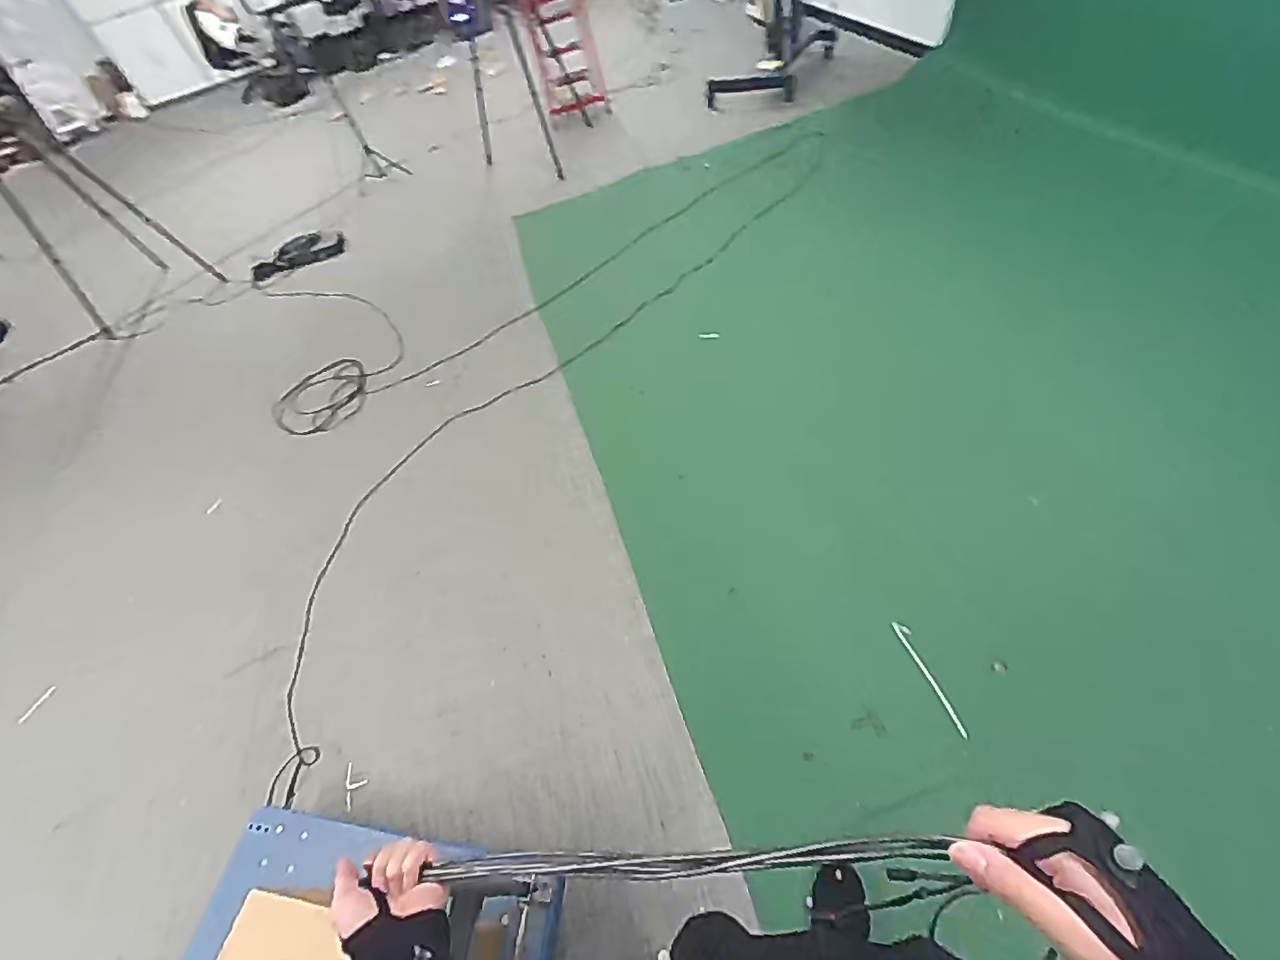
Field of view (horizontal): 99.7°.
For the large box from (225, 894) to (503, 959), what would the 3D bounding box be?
[{"bbox_3d":[-0.530,0.997,1.004,0.408,0.320,0.320,0,53,16],"label":"large box"}]
